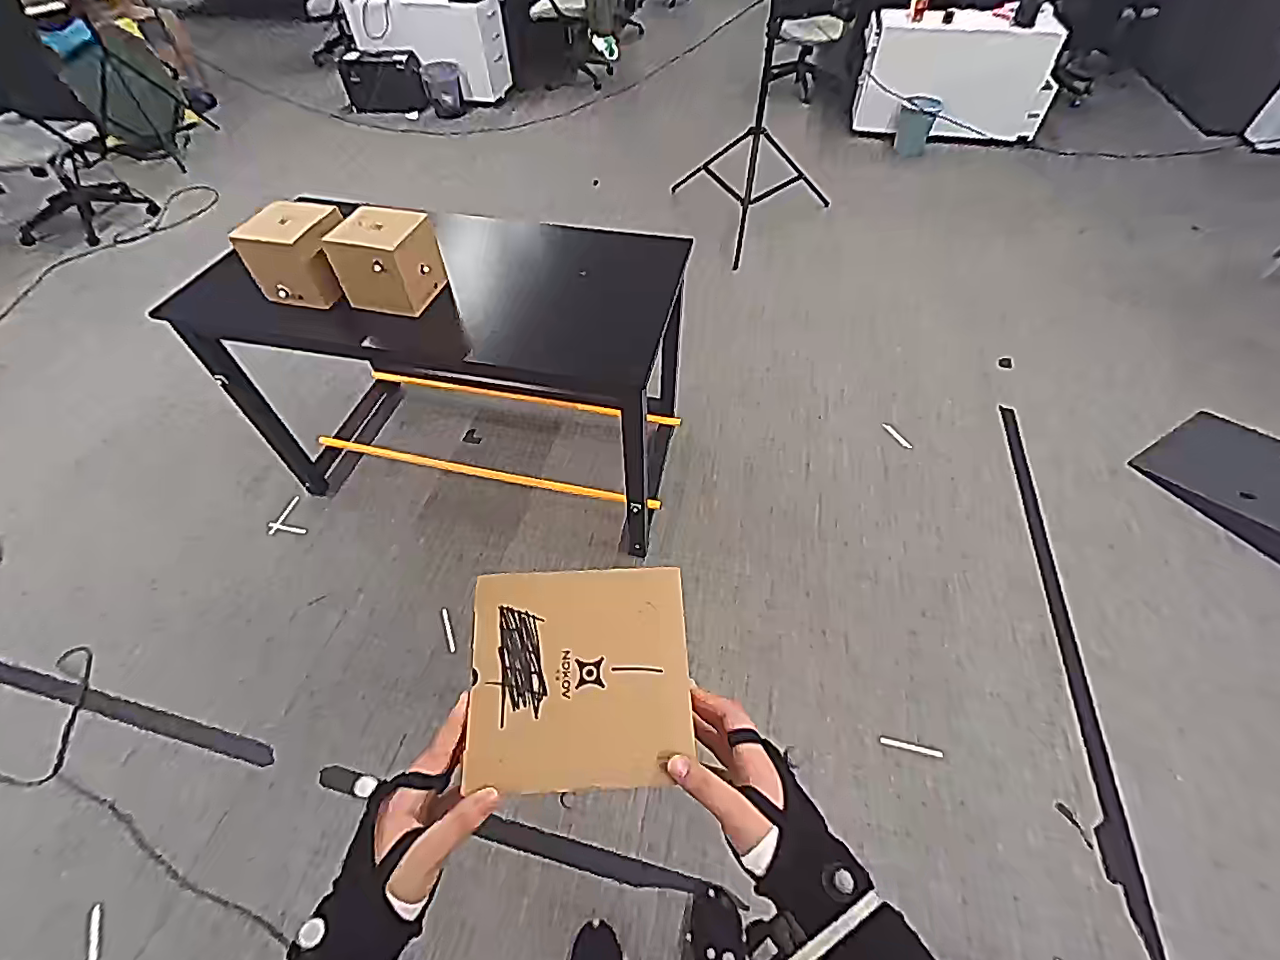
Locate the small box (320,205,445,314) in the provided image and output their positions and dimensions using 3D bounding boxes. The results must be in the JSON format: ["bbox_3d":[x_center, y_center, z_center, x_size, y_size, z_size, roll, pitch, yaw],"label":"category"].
[{"bbox_3d":[-0.580,-0.505,1.248,0.179,0.176,0.168,11,52,9],"label":"small box"}]

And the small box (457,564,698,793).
[{"bbox_3d":[-0.049,0.182,0.491,0.179,0.176,0.168,-2,65,-3],"label":"small box"}]

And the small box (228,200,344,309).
[{"bbox_3d":[-0.797,-0.530,1.274,0.168,0.176,0.179,9,53,9],"label":"small box"}]
